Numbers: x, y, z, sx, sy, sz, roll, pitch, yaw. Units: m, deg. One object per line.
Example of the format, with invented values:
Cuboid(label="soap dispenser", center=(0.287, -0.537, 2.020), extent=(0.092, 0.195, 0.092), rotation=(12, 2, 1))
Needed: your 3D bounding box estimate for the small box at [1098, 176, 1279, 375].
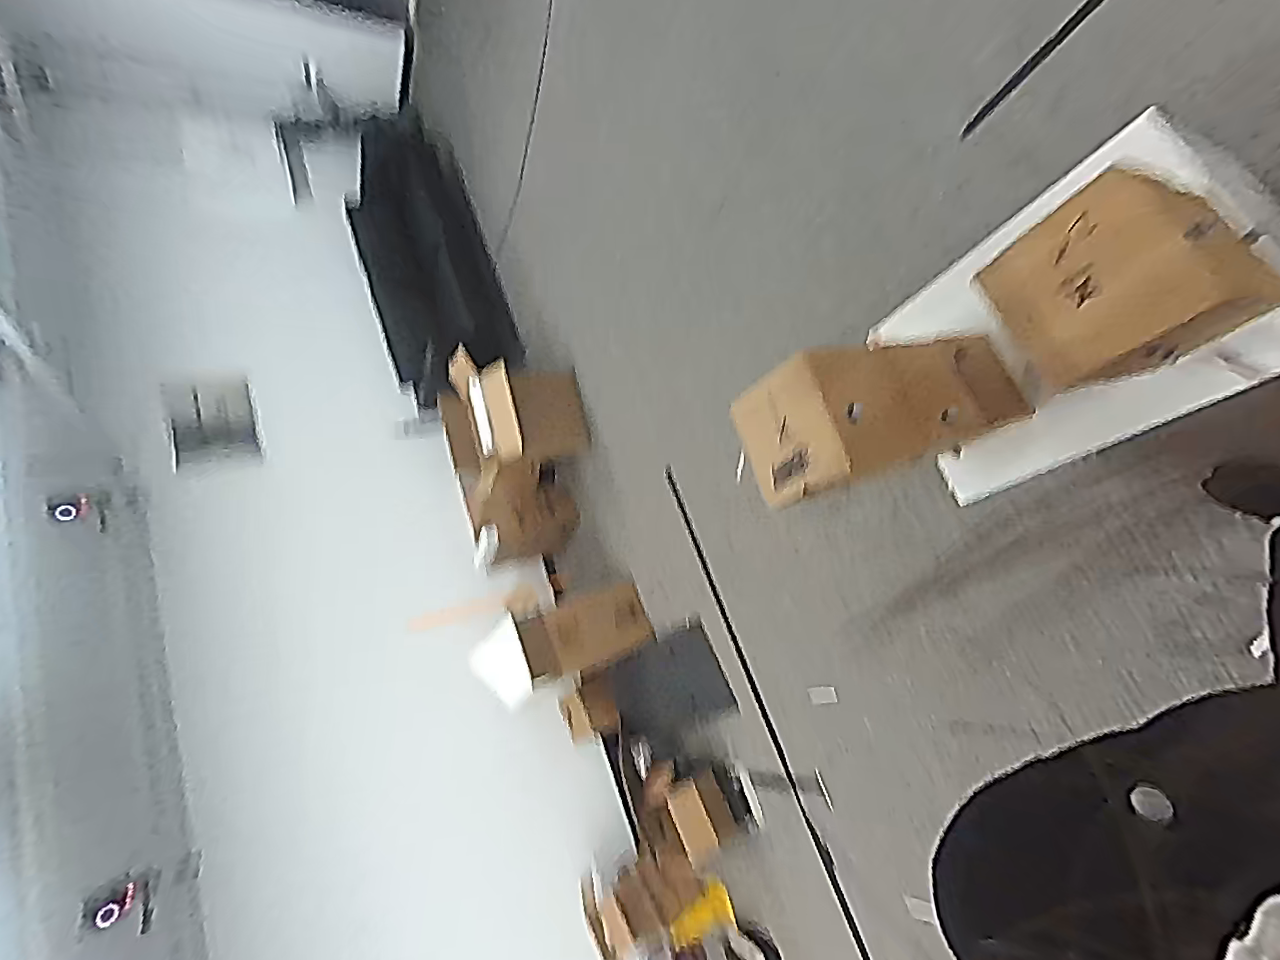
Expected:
Cuboid(label="small box", center=(0.677, -0.258, 0.711), extent=(0.168, 0.176, 0.179), rotation=(-46, 62, 55))

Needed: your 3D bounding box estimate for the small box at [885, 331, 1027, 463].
Cuboid(label="small box", center=(0.540, -0.151, 0.965), extent=(0.168, 0.176, 0.179), rotation=(-40, 66, 54))

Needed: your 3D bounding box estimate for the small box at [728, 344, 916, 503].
Cuboid(label="small box", center=(0.266, -0.085, 0.795), extent=(0.168, 0.176, 0.179), rotation=(-35, 70, 56))

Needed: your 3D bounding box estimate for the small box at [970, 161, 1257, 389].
Cuboid(label="small box", center=(0.540, -0.228, 0.624), extent=(0.168, 0.176, 0.179), rotation=(-44, 64, 54))
